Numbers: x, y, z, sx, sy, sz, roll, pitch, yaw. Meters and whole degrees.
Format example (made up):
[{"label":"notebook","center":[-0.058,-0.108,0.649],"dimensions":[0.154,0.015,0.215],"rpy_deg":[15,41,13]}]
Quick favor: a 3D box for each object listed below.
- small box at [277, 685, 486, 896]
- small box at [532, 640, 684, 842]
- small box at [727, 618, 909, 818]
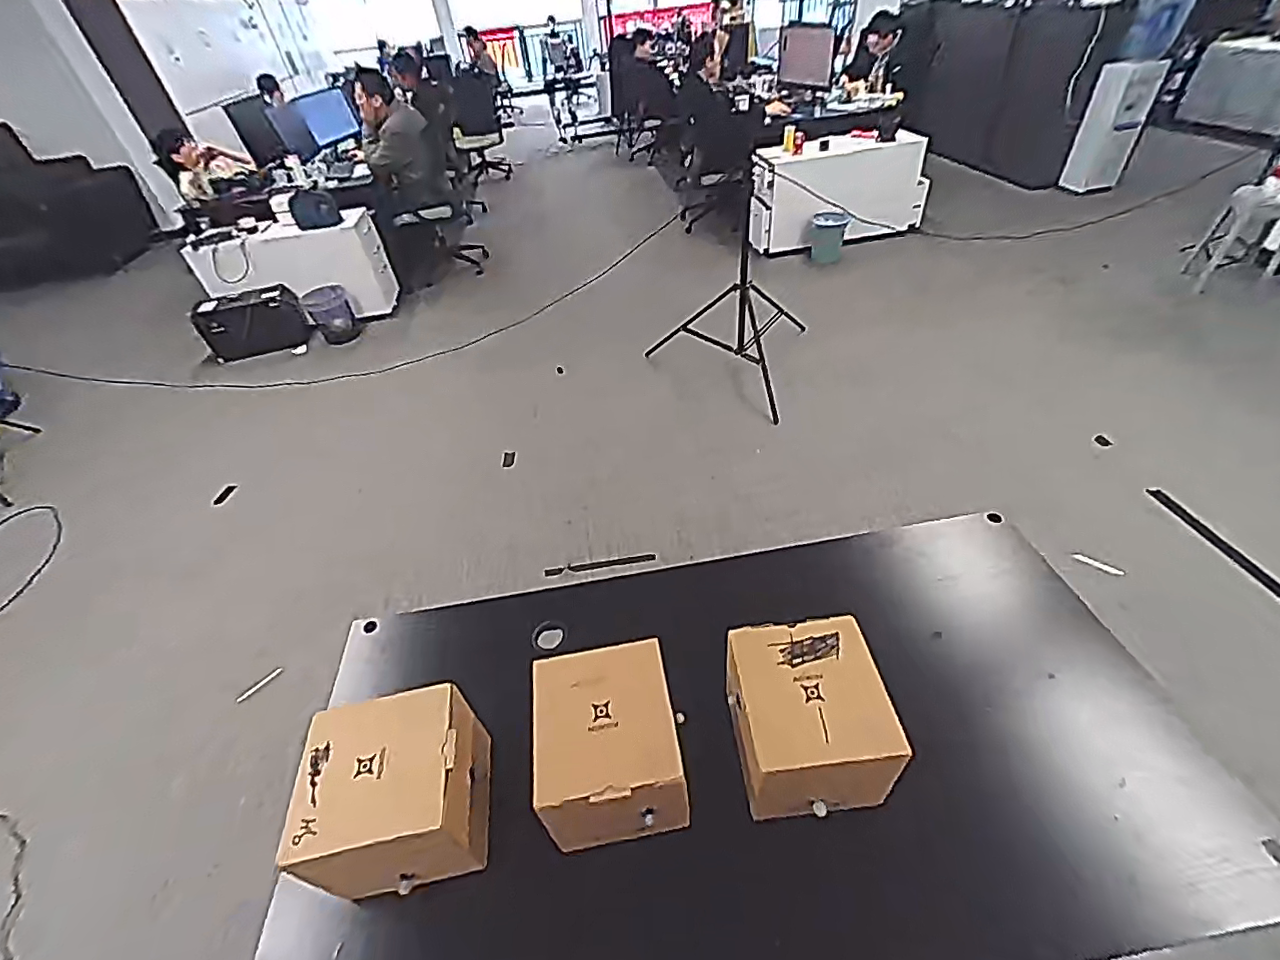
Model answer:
[{"label":"small box","center":[-0.296,0.385,0.672],"dimensions":[0.179,0.176,0.168],"rpy_deg":[-10,42,-5]},{"label":"small box","center":[-0.040,0.337,0.693],"dimensions":[0.168,0.176,0.179],"rpy_deg":[-9,41,-4]},{"label":"small box","center":[0.208,0.304,0.694],"dimensions":[0.168,0.176,0.179],"rpy_deg":[-7,43,0]}]
